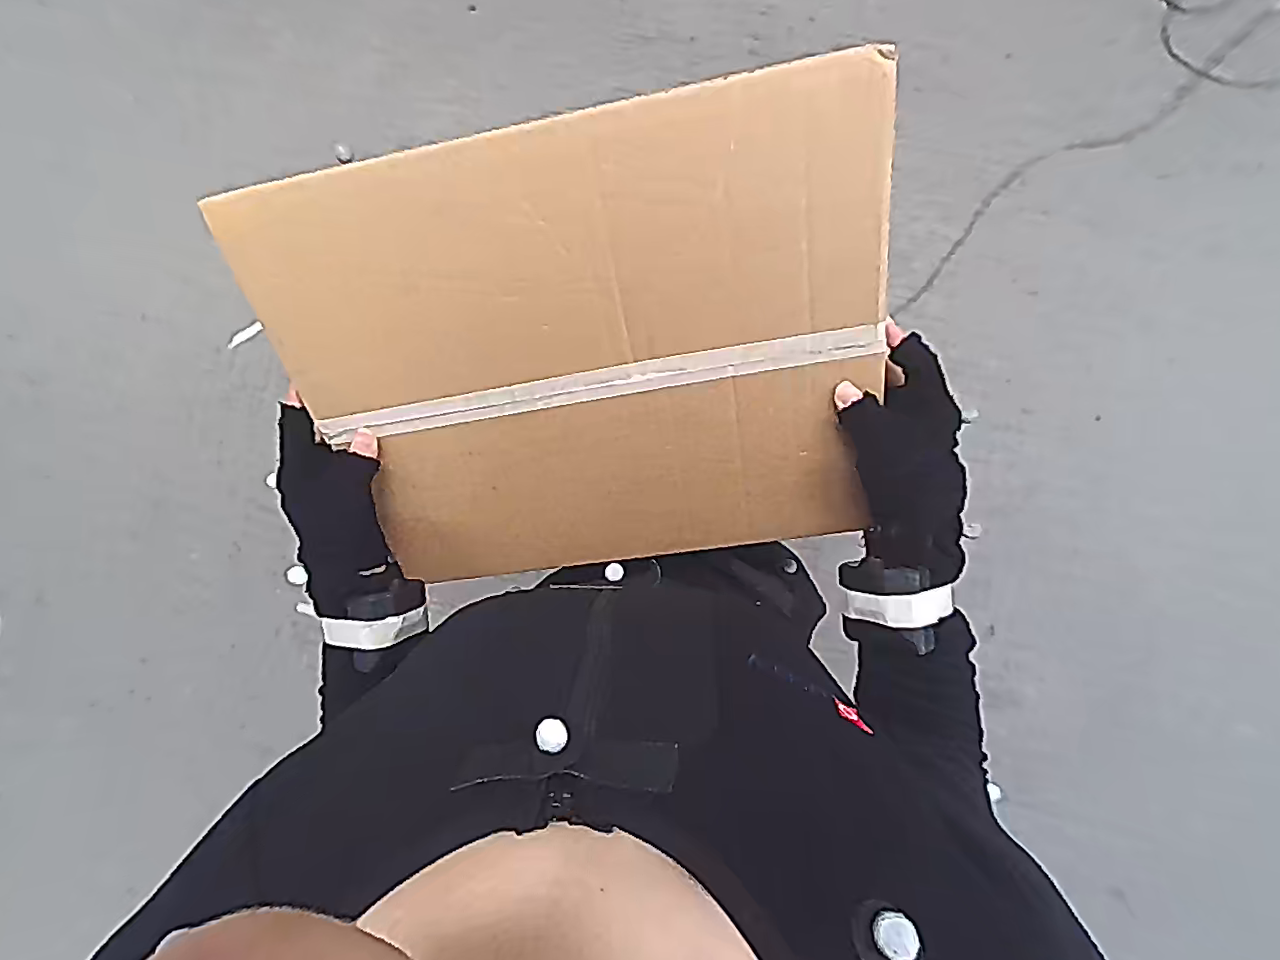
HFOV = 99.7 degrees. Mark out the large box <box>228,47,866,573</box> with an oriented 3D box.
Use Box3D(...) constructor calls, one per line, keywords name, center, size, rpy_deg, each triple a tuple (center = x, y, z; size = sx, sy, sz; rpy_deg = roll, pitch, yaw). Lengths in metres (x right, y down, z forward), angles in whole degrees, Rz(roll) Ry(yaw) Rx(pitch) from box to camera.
Box3D(name="large box", center=(-0.039, -0.150, 0.519), size=(0.408, 0.320, 0.320), rpy_deg=(-9, 122, 7))
